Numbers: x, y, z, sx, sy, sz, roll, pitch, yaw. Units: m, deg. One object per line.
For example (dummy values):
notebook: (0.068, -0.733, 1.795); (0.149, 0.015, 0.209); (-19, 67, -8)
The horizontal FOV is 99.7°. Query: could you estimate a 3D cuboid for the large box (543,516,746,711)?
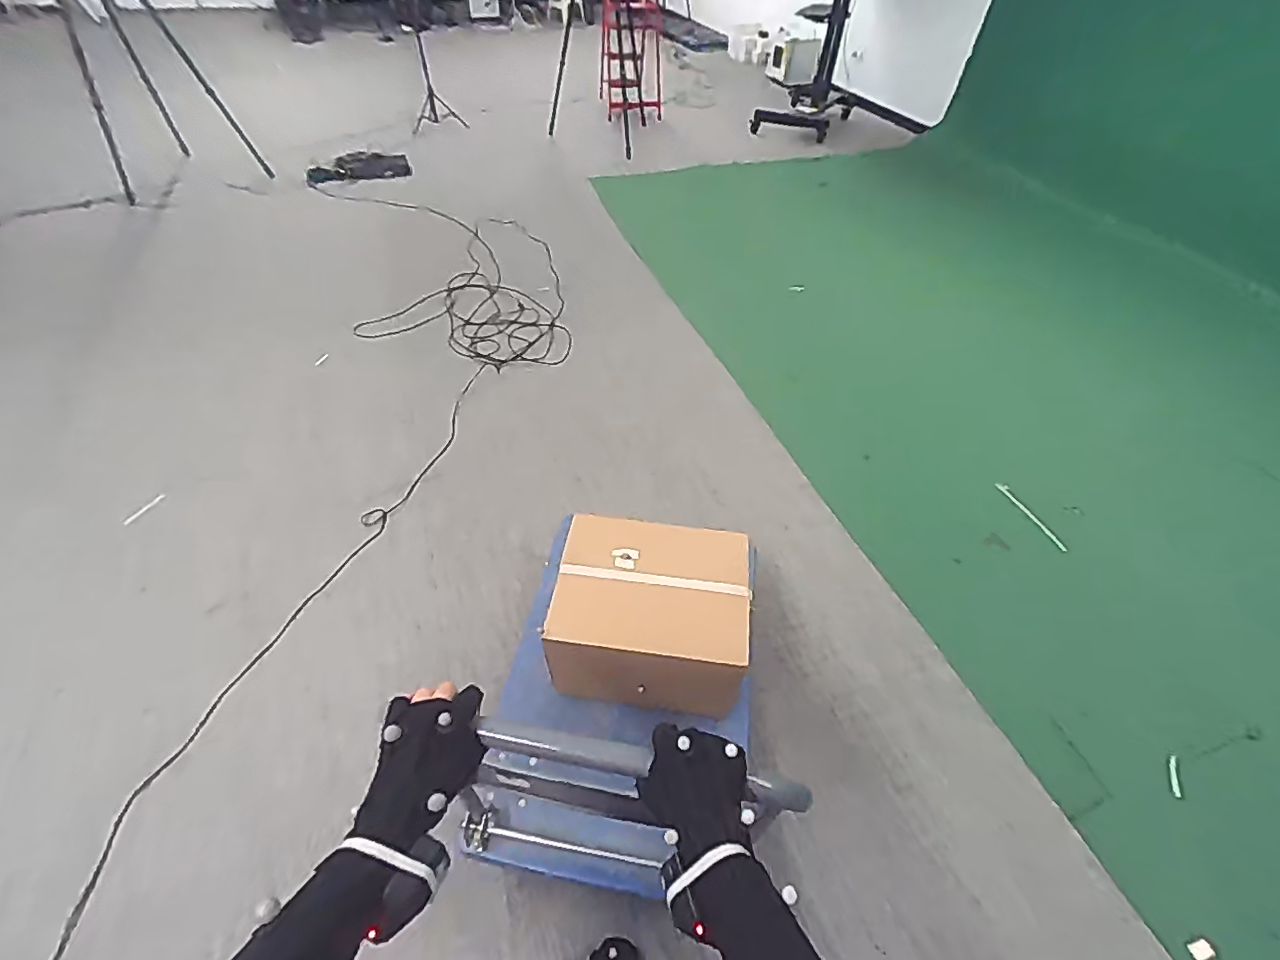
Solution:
large box: (0.023, 0.312, 1.253); (0.408, 0.320, 0.320); (6, 49, 4)
